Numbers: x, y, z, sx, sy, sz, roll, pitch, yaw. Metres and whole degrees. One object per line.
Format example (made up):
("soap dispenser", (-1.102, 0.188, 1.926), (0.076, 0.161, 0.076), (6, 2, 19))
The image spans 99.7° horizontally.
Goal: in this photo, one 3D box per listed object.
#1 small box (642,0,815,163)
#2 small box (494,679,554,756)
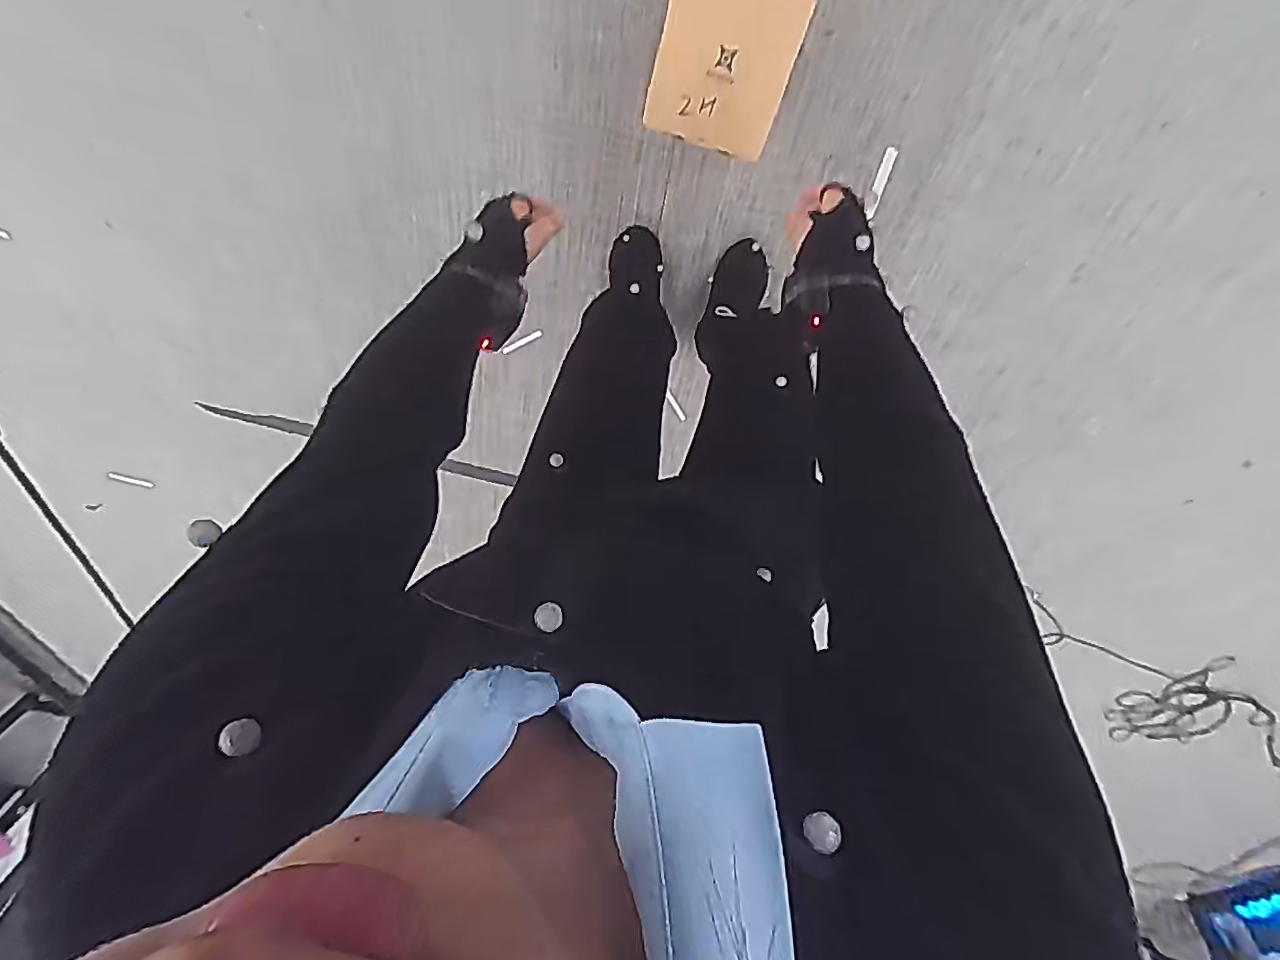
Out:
("small box", (0.113, -0.560, 0.728), (0.168, 0.176, 0.179), (18, 130, -3))
("small box", (-0.404, 0.829, 1.890), (0.168, 0.176, 0.179), (12, 129, 1))
